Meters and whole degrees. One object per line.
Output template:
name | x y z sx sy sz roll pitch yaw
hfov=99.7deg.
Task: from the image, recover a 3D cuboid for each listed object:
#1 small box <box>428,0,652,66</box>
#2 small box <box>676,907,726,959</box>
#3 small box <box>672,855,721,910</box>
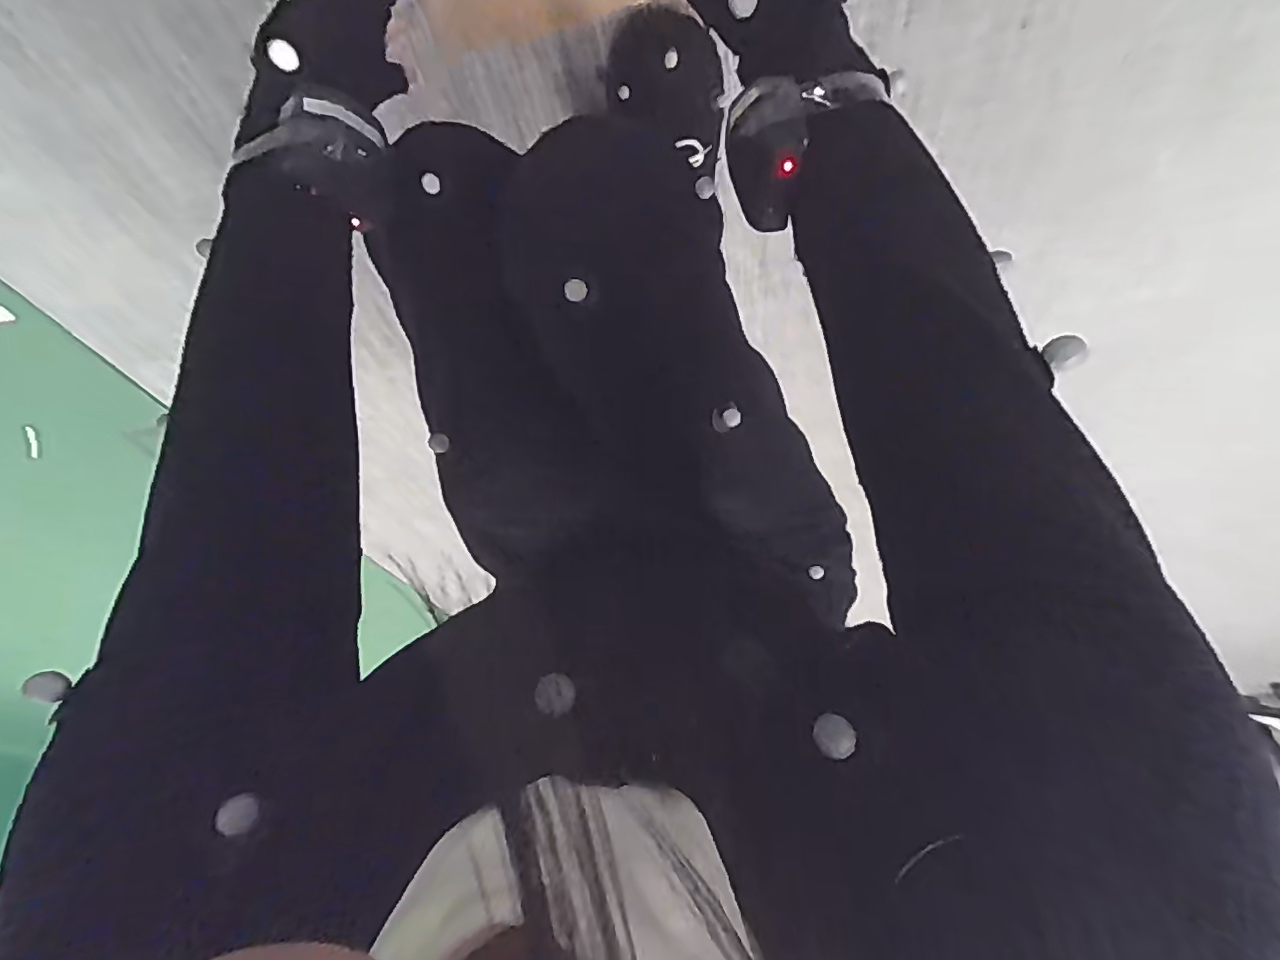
small box | -0.092 -0.477 0.432 0.179 0.176 0.168 -7 144 10
small box | 0.234 1.761 2.094 0.179 0.176 0.168 -8 145 9
small box | 0.228 1.624 2.183 0.179 0.176 0.168 -9 145 13
